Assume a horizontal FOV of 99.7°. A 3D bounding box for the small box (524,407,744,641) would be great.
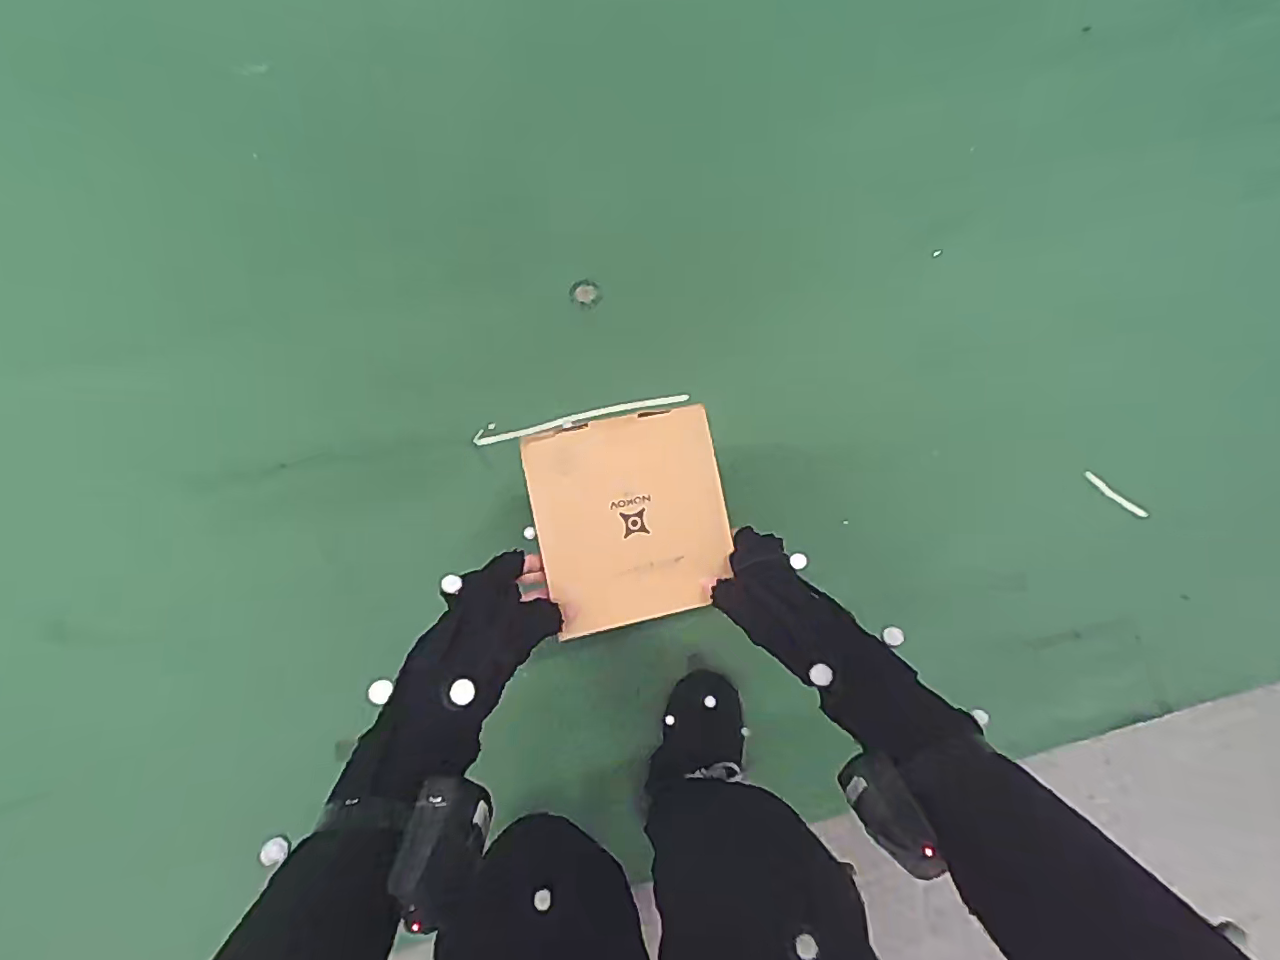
[{"bbox_3d":[-0.014,0.039,0.531,0.168,0.176,0.179,-10,89,-7],"label":"small box"}]
